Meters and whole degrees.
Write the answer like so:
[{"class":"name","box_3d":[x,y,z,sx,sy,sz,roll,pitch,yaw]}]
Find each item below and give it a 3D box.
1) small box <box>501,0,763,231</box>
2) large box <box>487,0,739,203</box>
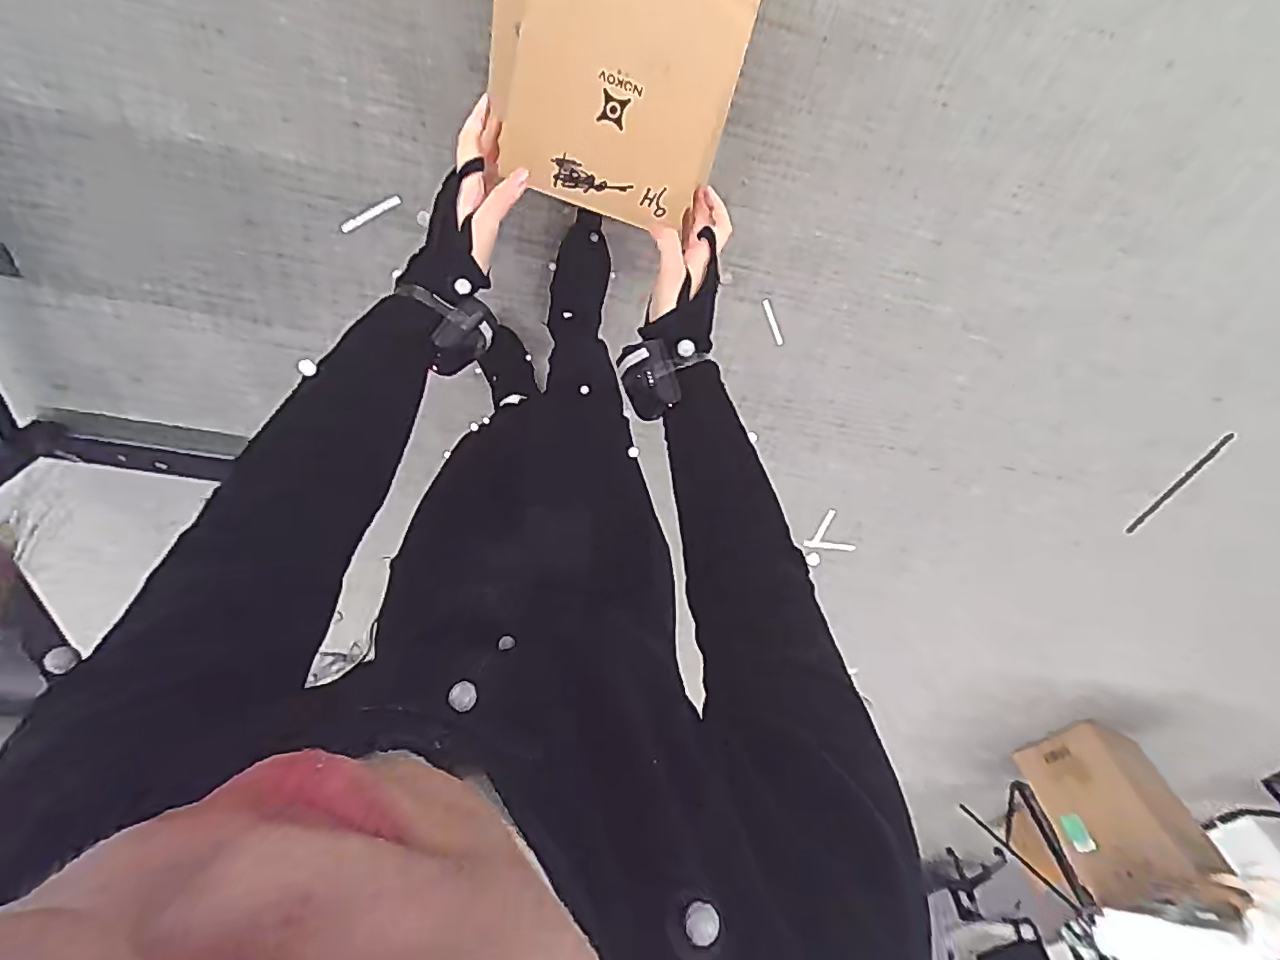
[{"class":"small box","box_3d":[-0.016,-0.360,0.488,0.168,0.176,0.179,15,126,-13]},{"class":"large box","box_3d":[-0.022,-0.668,0.763,0.320,0.320,0.408,9,127,-12]}]
